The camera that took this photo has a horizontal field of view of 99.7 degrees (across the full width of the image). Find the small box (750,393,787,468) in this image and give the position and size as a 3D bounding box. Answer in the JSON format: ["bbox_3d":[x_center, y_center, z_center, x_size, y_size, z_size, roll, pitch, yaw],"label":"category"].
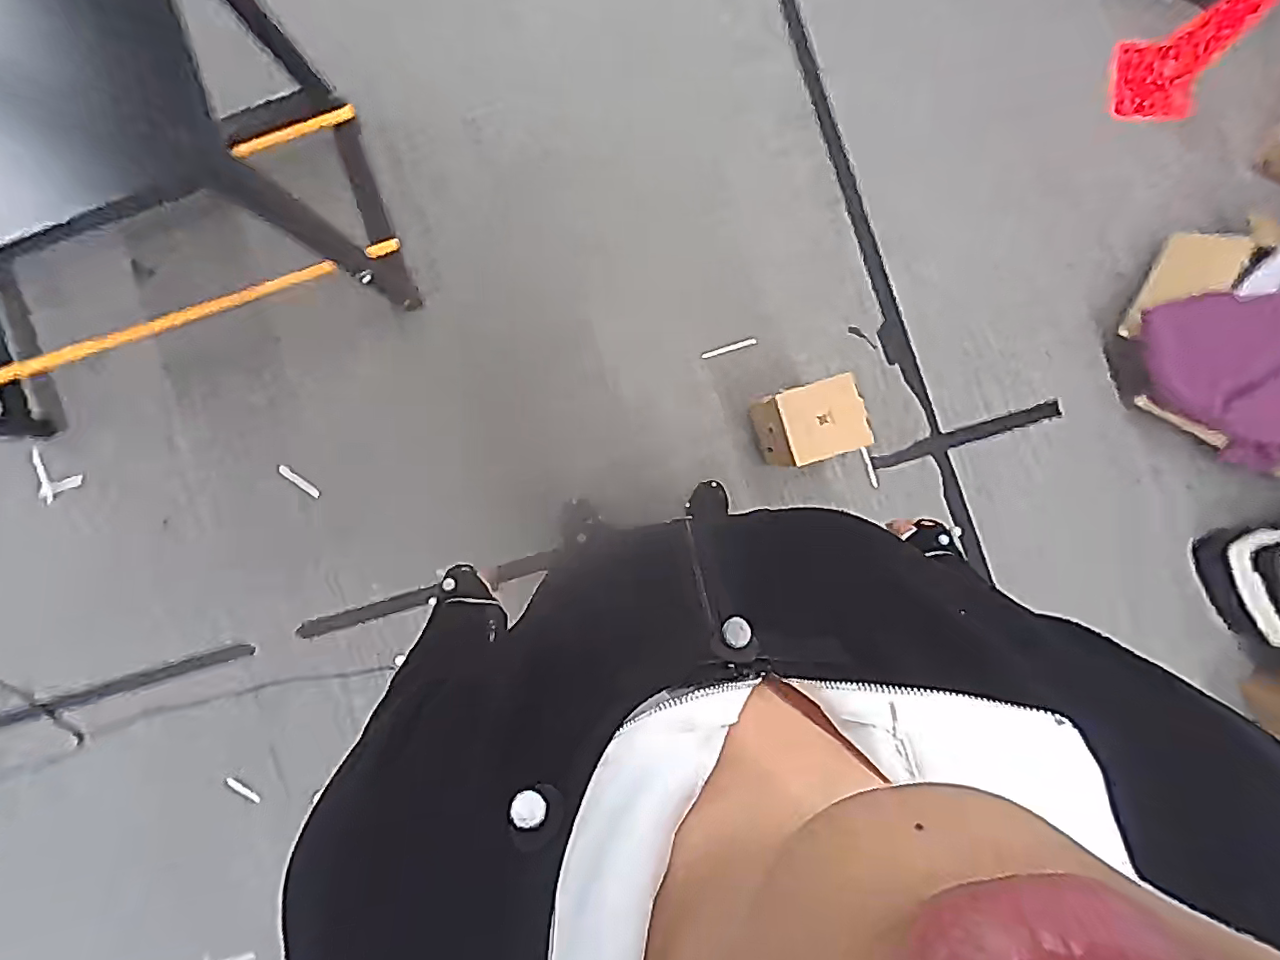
[{"bbox_3d":[0.398,-0.134,1.414,0.168,0.176,0.179,-16,90,2],"label":"small box"}]

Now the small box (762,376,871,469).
[{"bbox_3d":[0.400,-0.127,1.251,0.179,0.176,0.168,-17,89,3],"label":"small box"}]
